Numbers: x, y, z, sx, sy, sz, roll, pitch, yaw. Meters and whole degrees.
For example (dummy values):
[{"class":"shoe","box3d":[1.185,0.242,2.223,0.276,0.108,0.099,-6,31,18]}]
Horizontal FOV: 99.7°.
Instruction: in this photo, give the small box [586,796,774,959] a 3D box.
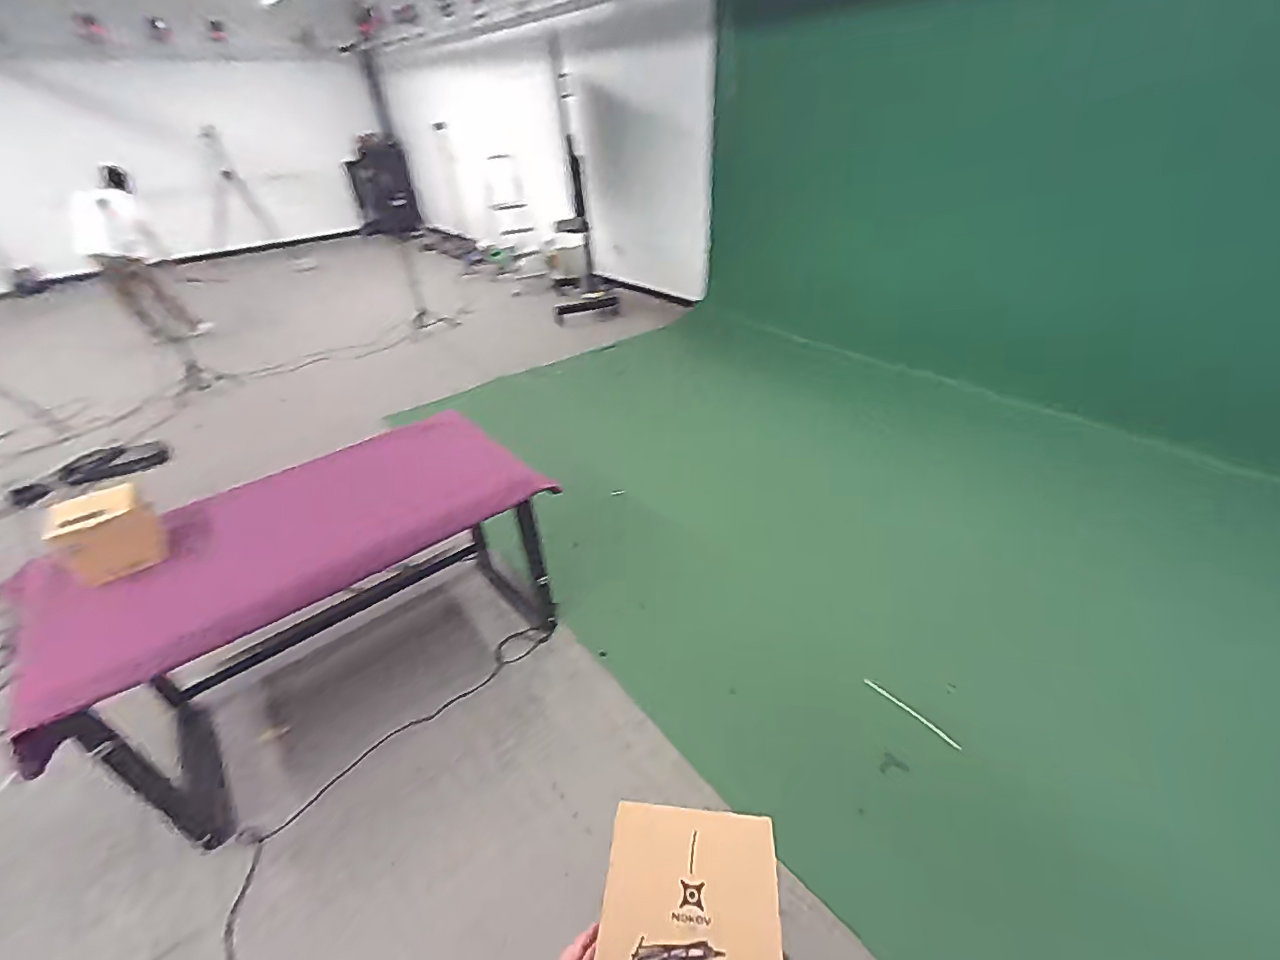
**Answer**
[{"class":"small box","box3d":[0.042,0.458,0.547,0.168,0.176,0.179,2,33,5]}]
